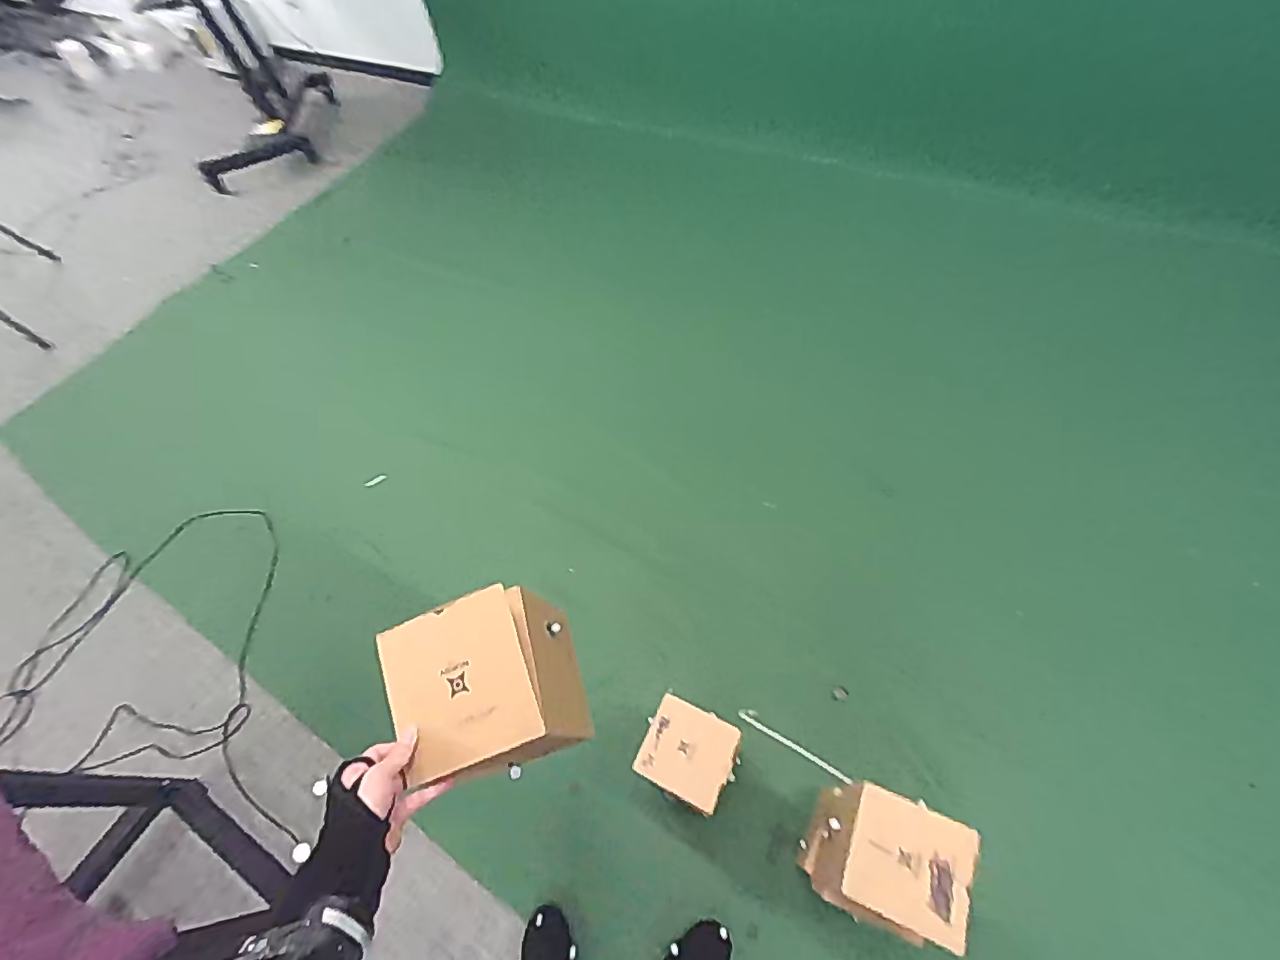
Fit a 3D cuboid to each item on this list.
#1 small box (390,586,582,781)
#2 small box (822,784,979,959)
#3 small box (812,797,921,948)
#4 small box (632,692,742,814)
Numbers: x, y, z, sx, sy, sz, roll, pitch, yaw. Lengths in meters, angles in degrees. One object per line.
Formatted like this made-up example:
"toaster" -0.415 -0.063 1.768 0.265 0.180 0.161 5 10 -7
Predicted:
"small box" -0.189 0.261 0.686 0.168 0.176 0.179 -22 61 4
"small box" 0.419 0.626 0.891 0.179 0.176 0.168 19 64 19
"small box" 0.434 0.723 1.024 0.168 0.176 0.179 16 65 18
"small box" 0.106 0.584 1.159 0.179 0.176 0.168 22 64 20
